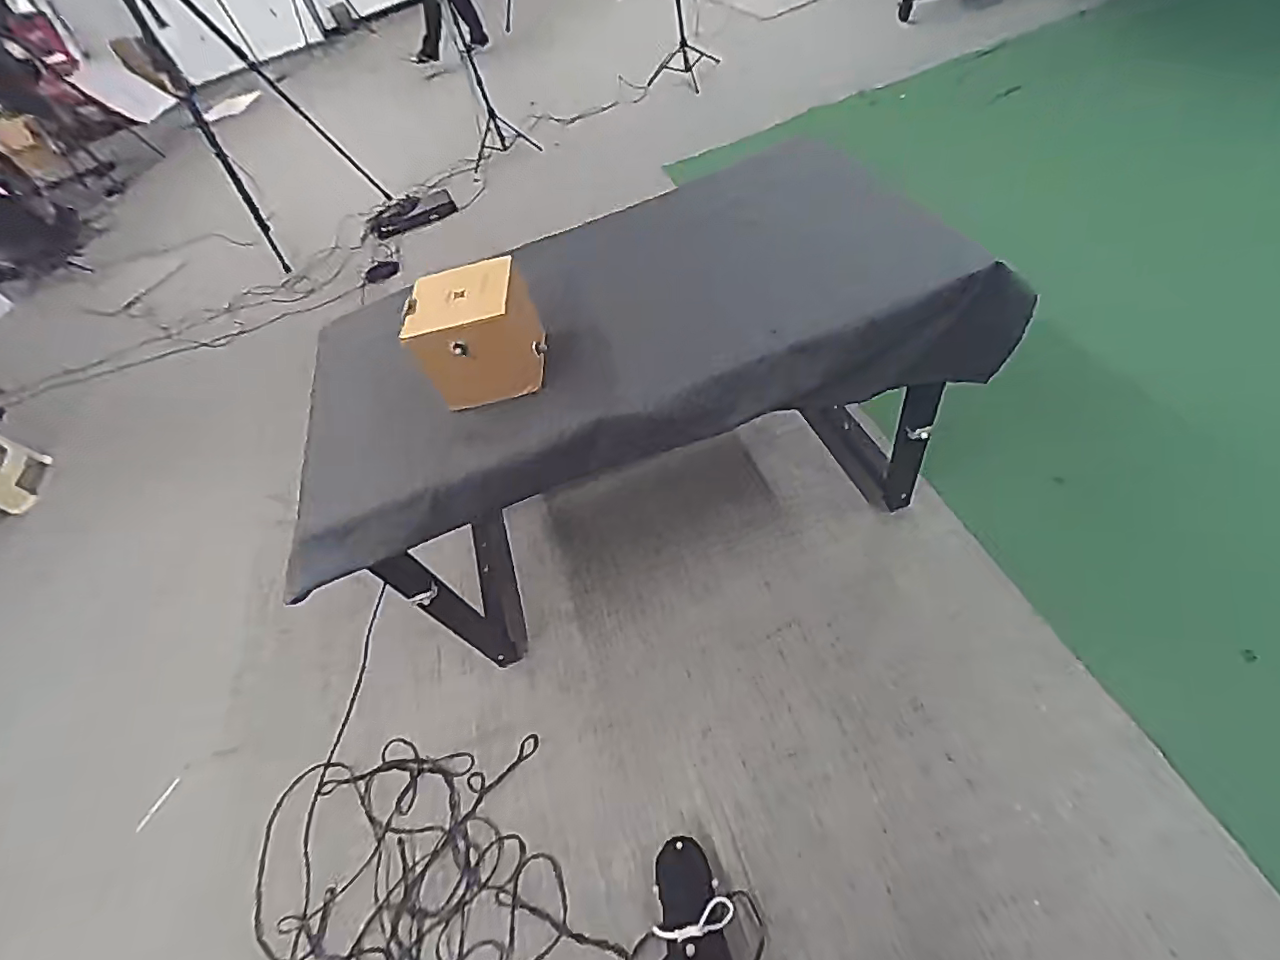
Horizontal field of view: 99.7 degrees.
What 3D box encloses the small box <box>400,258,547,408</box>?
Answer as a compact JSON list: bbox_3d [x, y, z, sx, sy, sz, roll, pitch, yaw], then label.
[{"bbox_3d":[-0.273,-0.244,0.926,0.179,0.176,0.168,-11,53,6],"label":"small box"}]
